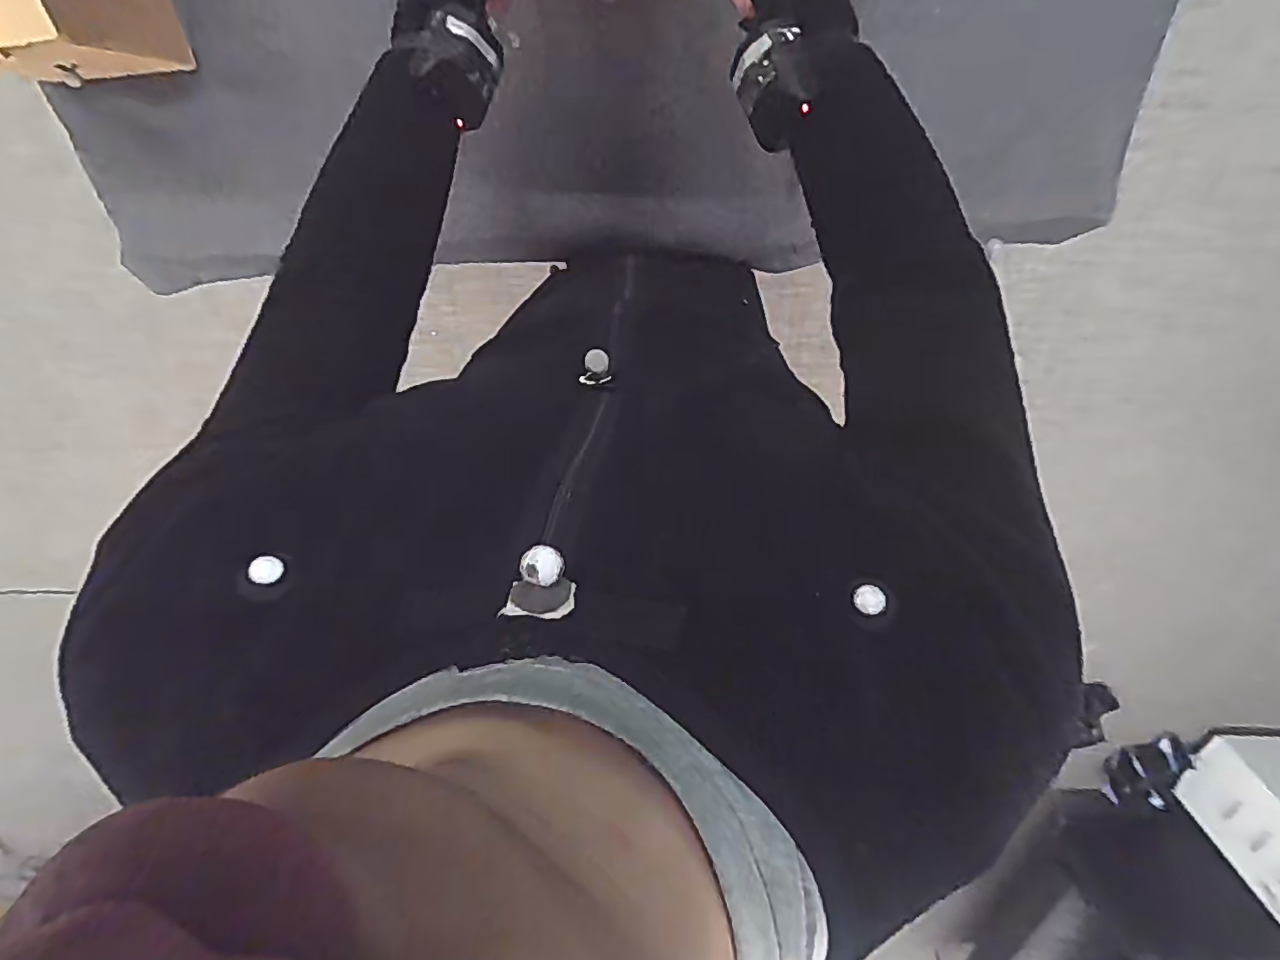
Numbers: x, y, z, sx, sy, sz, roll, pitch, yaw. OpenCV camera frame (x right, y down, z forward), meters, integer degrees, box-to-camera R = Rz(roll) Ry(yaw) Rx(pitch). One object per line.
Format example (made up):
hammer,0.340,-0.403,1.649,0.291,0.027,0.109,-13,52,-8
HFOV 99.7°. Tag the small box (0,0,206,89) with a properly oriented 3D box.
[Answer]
small box,-0.556,-0.468,0.490,0.168,0.176,0.179,-4,122,1
